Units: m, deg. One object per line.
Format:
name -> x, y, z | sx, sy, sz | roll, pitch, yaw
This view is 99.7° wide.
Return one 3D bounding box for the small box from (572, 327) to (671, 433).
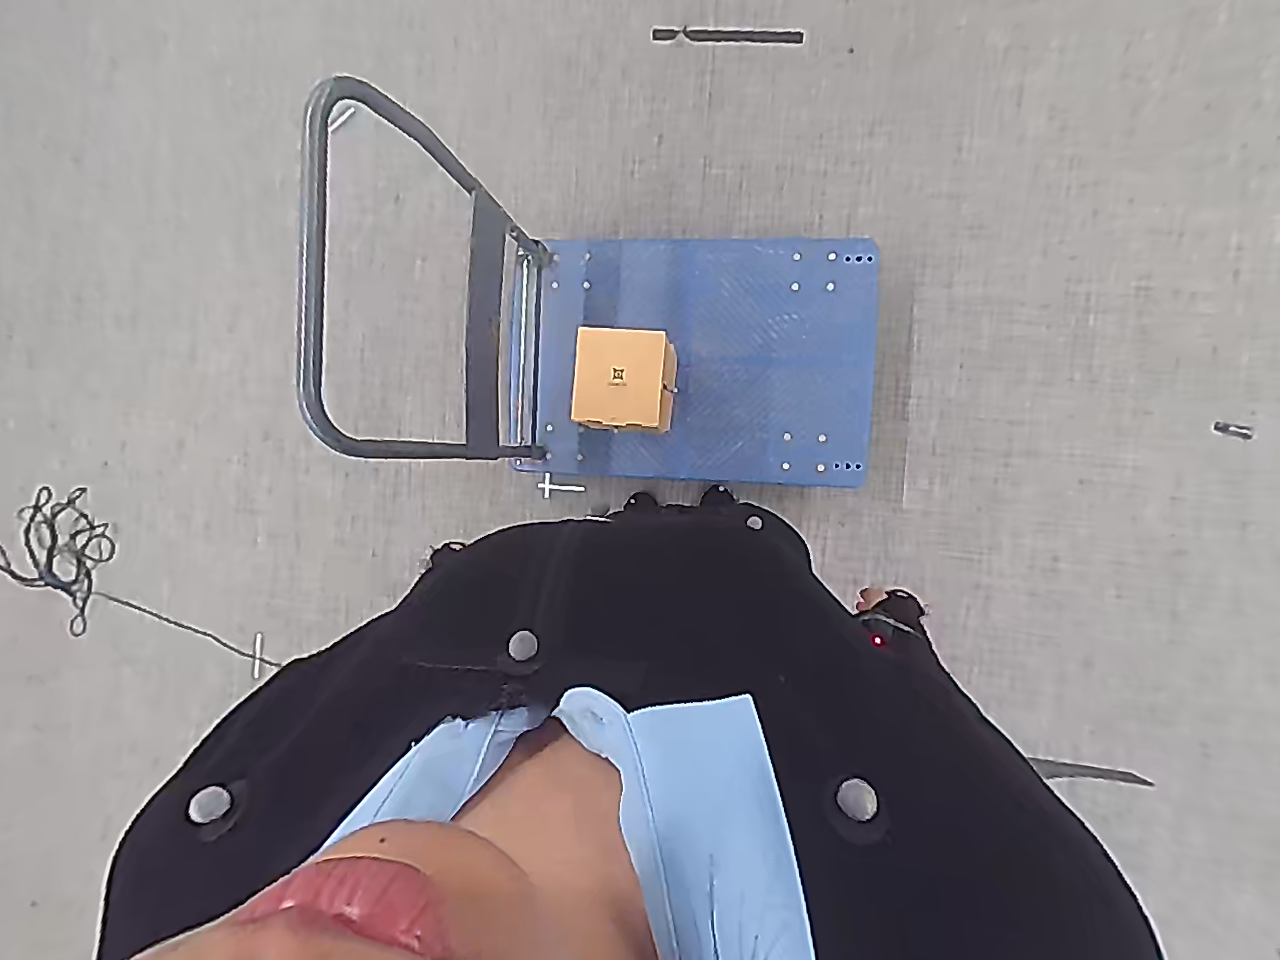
small box -> -0.030, -0.190, 1.065 | 0.168, 0.176, 0.179 | 5, 93, 6
